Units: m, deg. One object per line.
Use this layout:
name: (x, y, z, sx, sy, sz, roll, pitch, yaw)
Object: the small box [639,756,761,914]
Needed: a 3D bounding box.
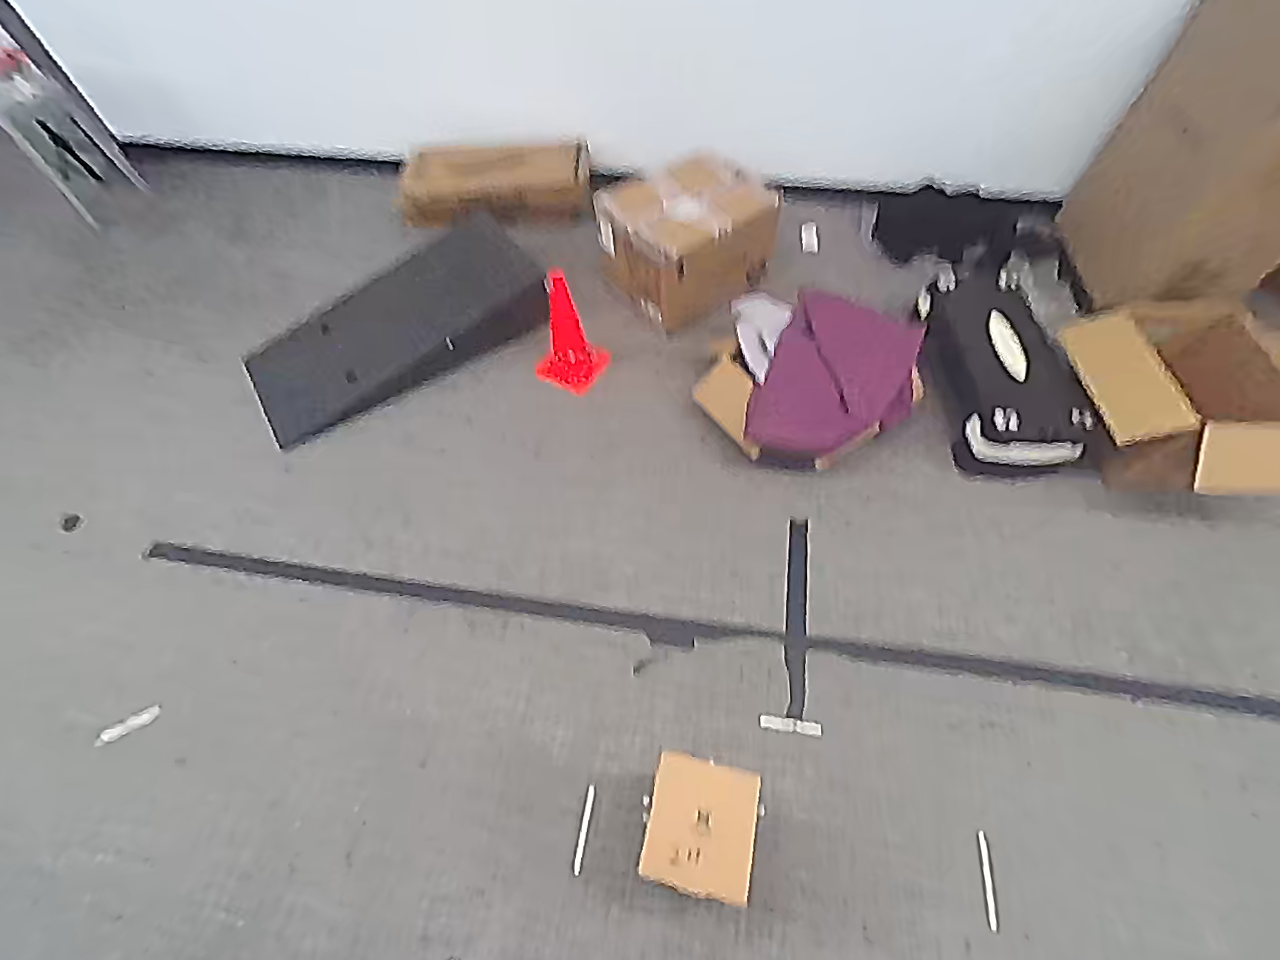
small box: (0.098, 0.590, 0.910, 0.168, 0.176, 0.179, 11, 58, 9)
